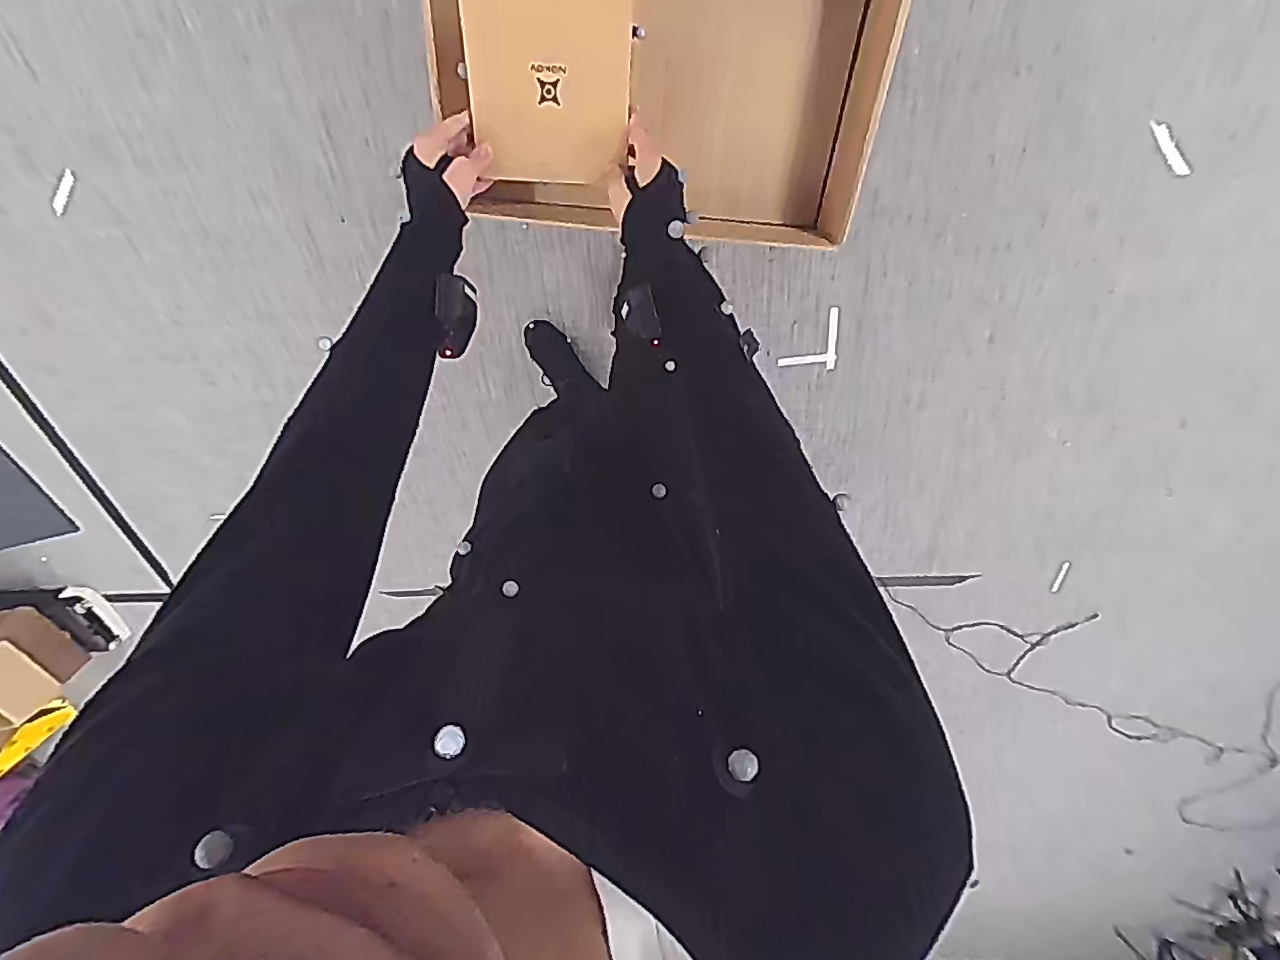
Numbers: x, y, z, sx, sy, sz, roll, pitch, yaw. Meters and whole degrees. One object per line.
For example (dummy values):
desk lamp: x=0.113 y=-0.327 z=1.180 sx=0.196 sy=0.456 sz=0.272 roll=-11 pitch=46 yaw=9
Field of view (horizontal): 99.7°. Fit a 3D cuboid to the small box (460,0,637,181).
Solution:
small box: x=-0.090 y=-0.453 z=0.607 sx=0.168 sy=0.176 sz=0.179 roll=3 pitch=127 yaw=-1
